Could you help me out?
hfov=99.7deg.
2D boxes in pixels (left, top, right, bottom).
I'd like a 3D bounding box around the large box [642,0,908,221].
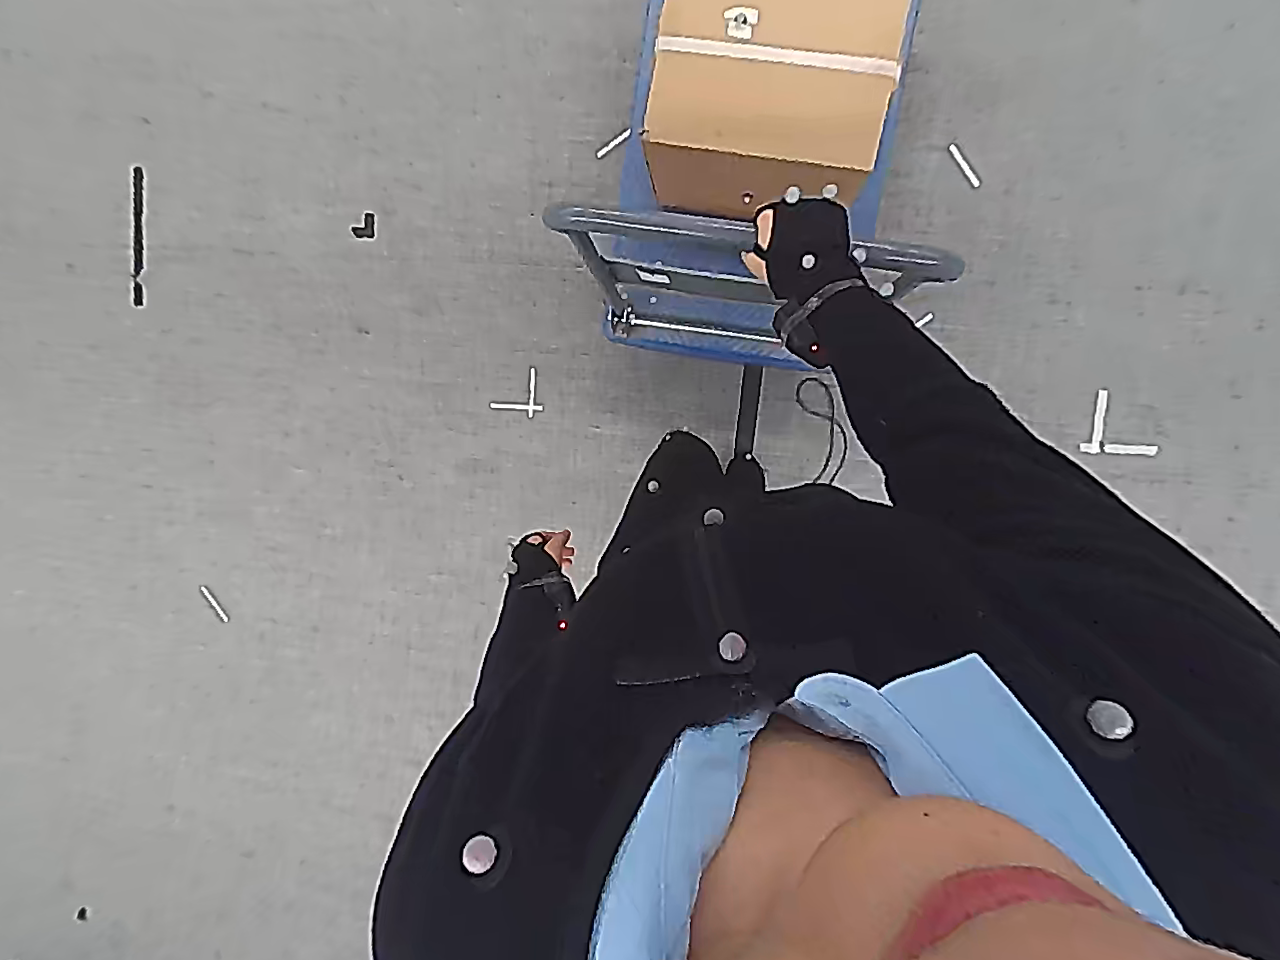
[{"bbox_3d":[0.245,-0.730,1.048,0.408,0.320,0.320,11,97,7],"label":"large box"}]
